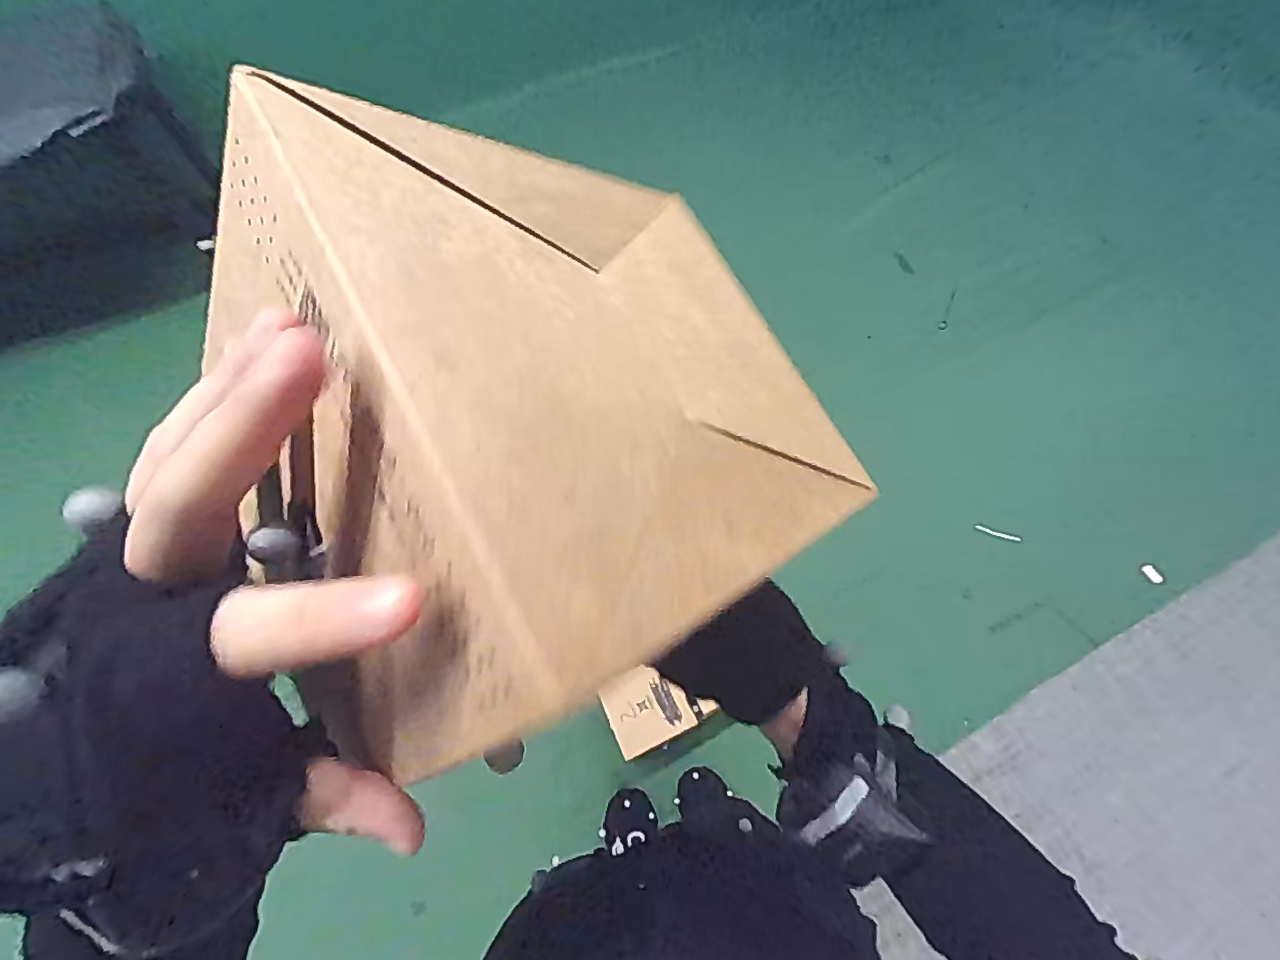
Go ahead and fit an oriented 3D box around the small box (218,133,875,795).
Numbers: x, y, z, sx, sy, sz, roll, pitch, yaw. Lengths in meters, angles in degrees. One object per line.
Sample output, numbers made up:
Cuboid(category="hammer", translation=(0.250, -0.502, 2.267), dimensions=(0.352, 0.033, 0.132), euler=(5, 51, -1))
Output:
Cuboid(category="small box", translation=(-0.039, -0.004, 0.226), dimensions=(0.179, 0.176, 0.168), euler=(-19, 78, -46))
